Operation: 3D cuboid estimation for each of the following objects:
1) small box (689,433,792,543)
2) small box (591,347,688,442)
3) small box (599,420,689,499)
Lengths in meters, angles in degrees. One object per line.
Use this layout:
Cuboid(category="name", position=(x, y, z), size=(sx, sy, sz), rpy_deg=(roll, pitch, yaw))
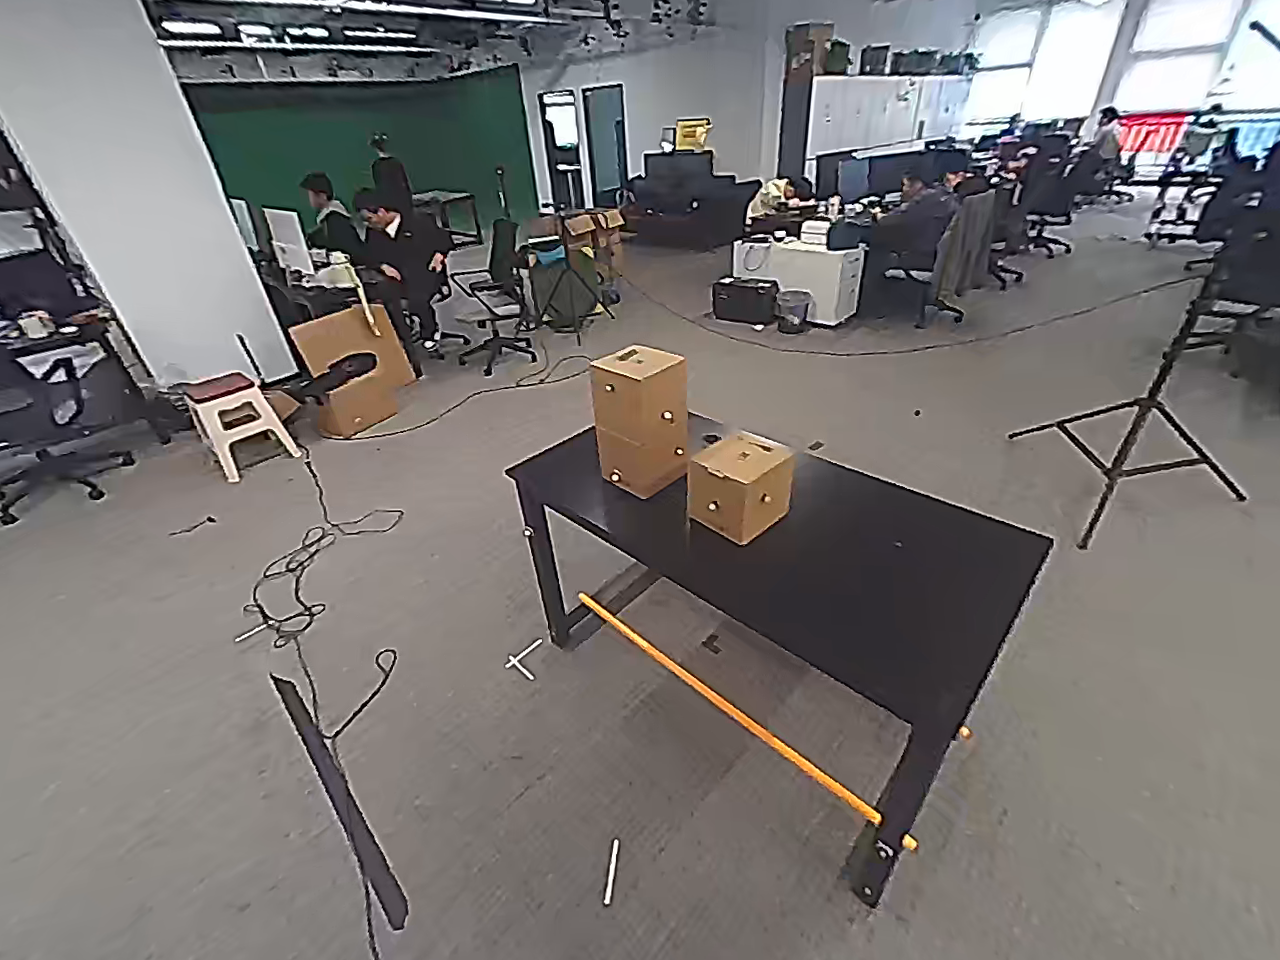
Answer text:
Cuboid(category="small box", position=(0.234, 0.018, 1.264), size=(0.179, 0.176, 0.168), rpy_deg=(-30, 42, -33))
Cuboid(category="small box", position=(0.001, -0.213, 1.344), size=(0.179, 0.176, 0.168), rpy_deg=(25, 43, 37))
Cuboid(category="small box", position=(0.013, -0.077, 1.435), size=(0.168, 0.176, 0.179), rpy_deg=(25, 44, 38))
